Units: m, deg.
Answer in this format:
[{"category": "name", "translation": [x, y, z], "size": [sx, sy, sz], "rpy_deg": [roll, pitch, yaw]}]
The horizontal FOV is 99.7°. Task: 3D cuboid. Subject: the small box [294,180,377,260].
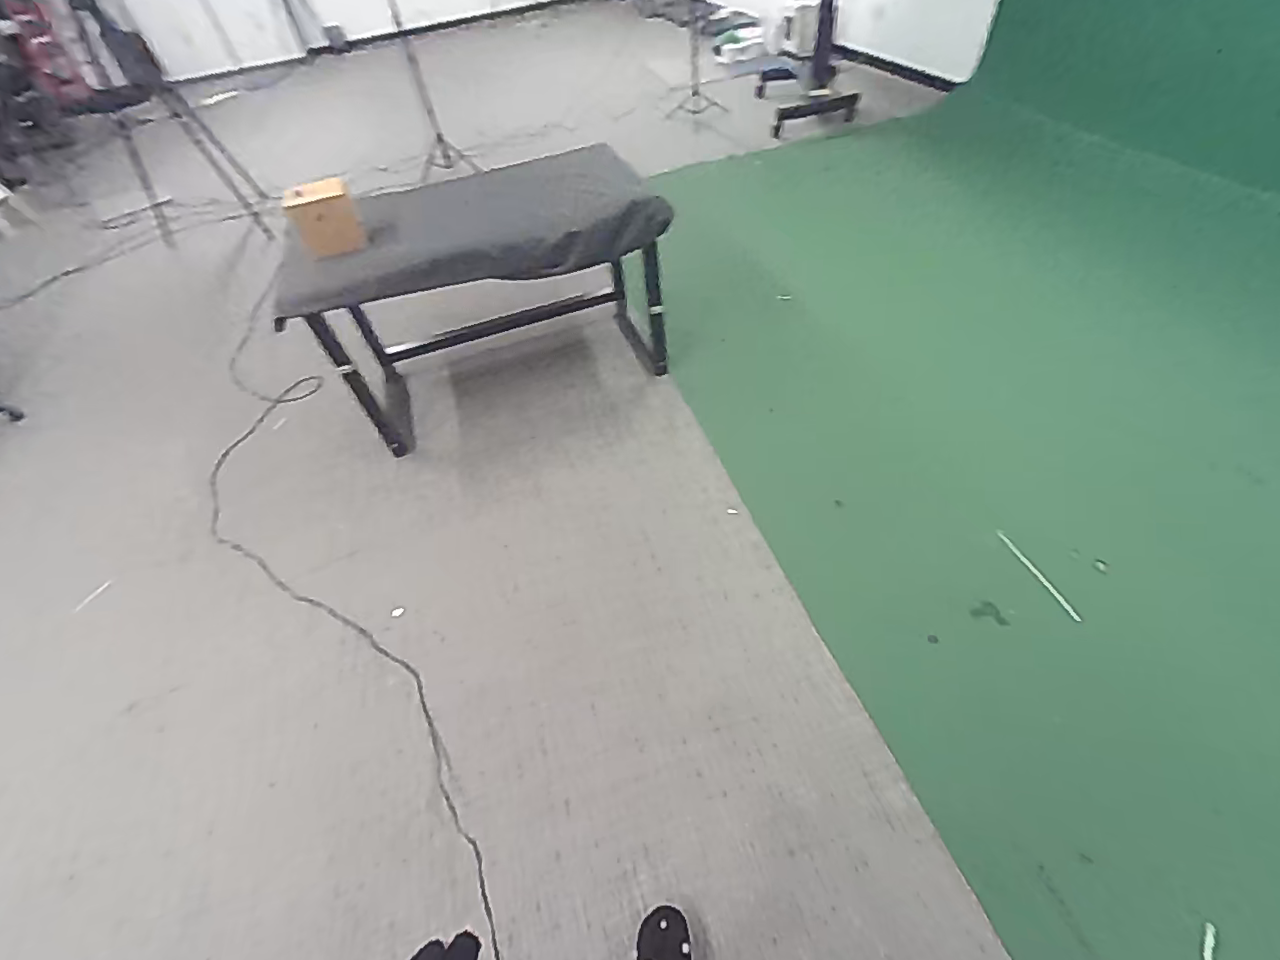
[{"category": "small box", "translation": [-0.970, -0.830, 1.733], "size": [0.179, 0.176, 0.168], "rpy_deg": [-19, 50, -10]}]
